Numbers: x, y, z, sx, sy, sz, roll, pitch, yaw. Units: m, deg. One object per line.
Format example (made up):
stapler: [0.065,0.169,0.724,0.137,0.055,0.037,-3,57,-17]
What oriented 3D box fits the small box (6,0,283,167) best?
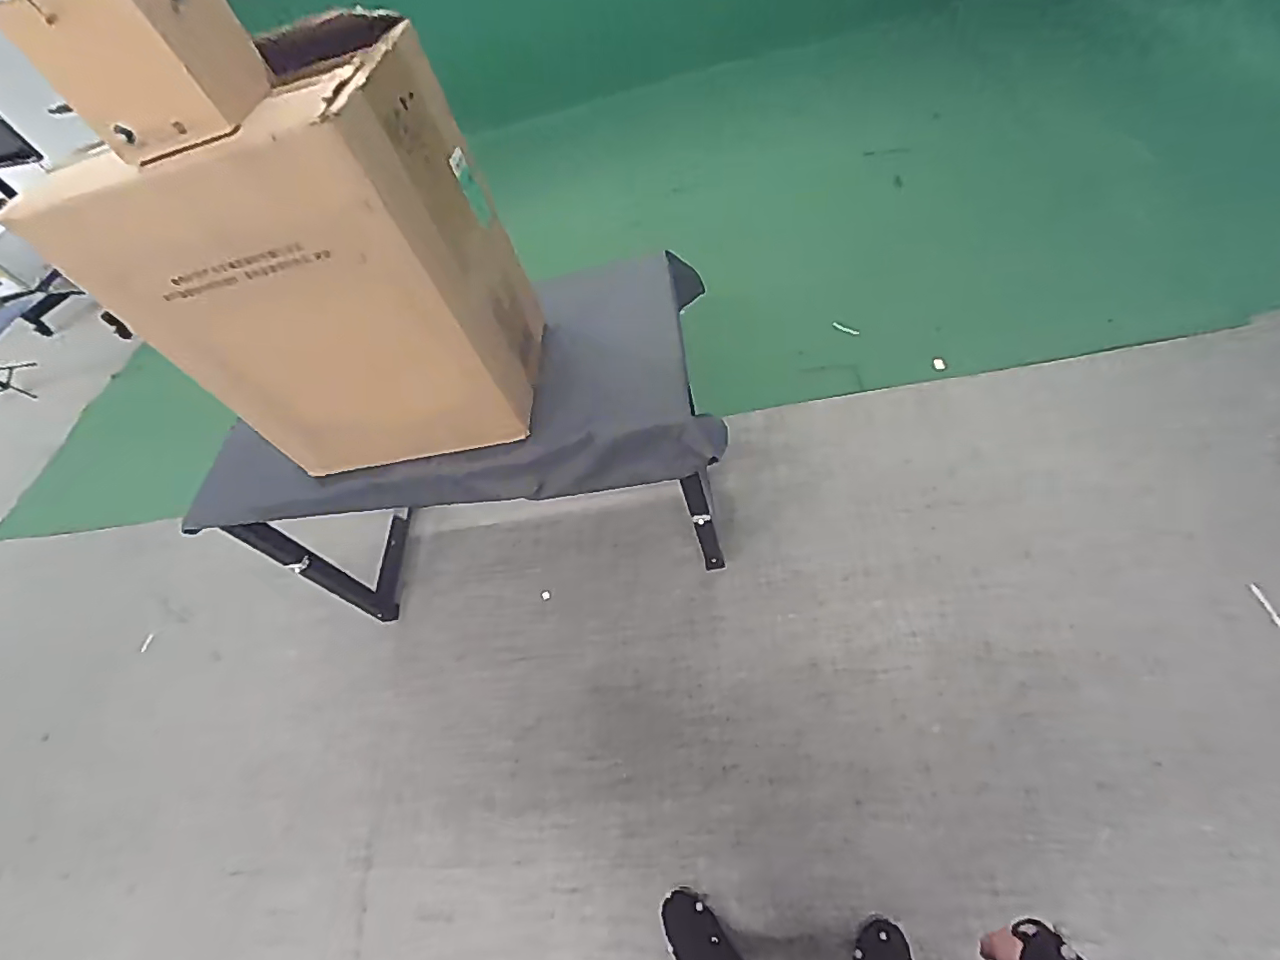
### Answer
small box: [-0.610,-0.533,0.697,0.168,0.176,0.179,-11,53,9]
